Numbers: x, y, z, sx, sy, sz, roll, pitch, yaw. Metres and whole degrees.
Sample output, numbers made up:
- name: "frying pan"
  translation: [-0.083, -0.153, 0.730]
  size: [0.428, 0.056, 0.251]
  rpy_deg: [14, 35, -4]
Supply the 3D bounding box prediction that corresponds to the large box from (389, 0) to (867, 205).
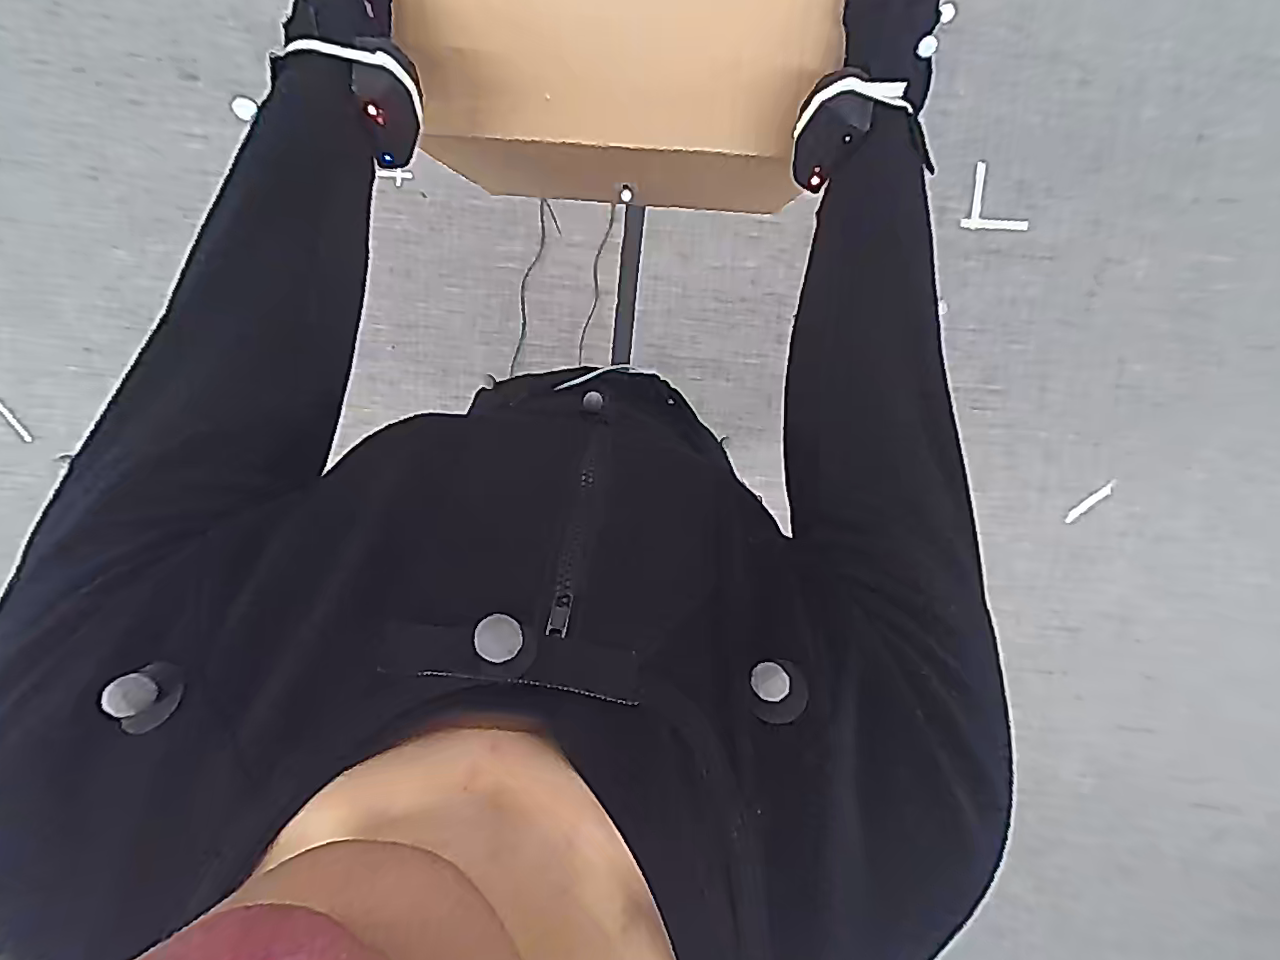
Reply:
- name: "large box"
  translation: [-0.003, -0.490, 0.575]
  size: [0.408, 0.320, 0.320]
  rpy_deg: [4, 108, 1]
